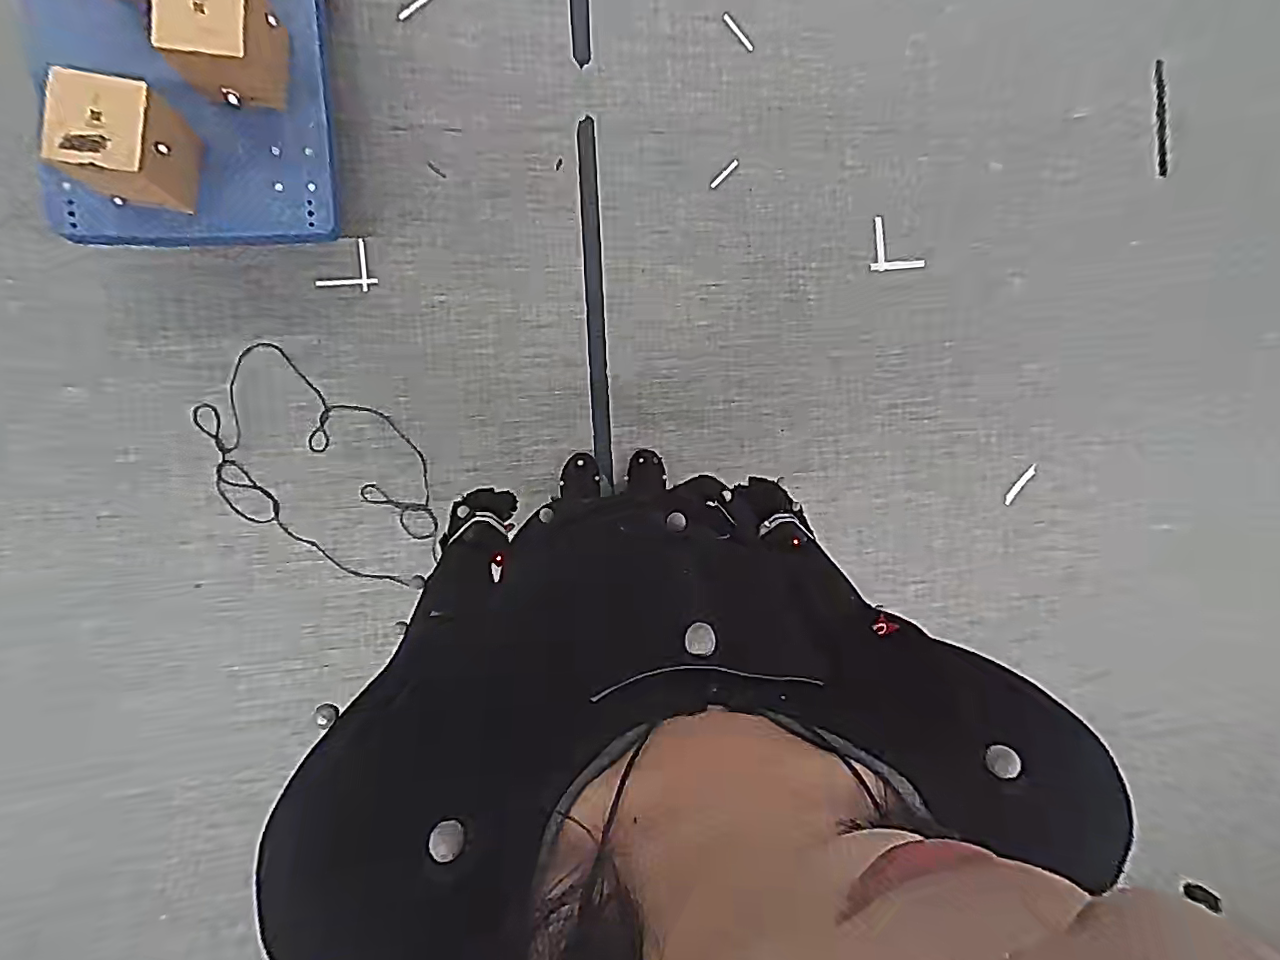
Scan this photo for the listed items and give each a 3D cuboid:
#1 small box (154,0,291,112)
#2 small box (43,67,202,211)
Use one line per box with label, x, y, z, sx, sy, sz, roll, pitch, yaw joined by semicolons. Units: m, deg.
small box;-0.853;-0.912;1.120;0.168;0.176;0.179;2;93;-6
small box;-1.037;-0.678;1.098;0.168;0.176;0.179;6;89;-8
